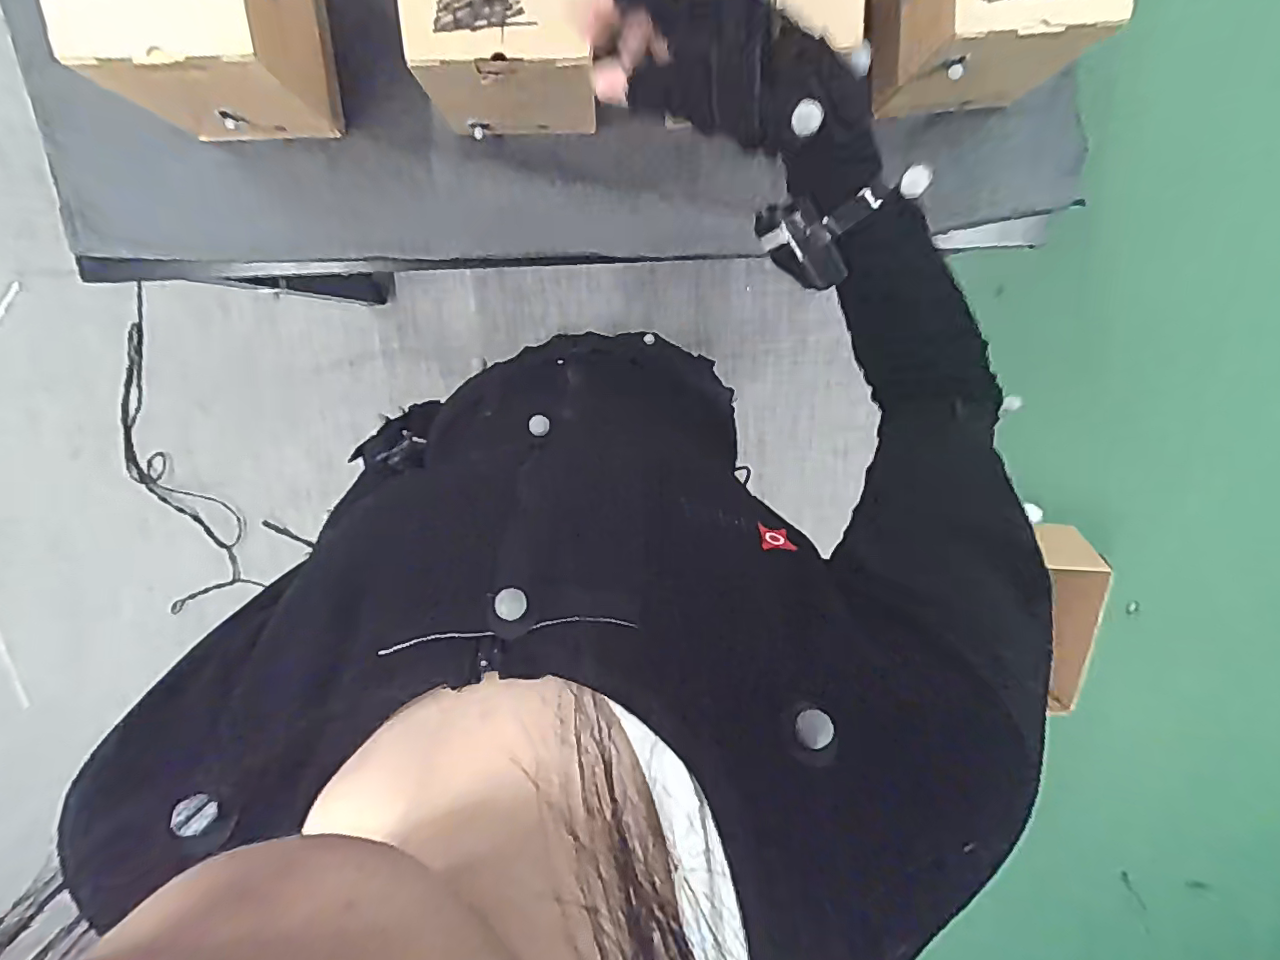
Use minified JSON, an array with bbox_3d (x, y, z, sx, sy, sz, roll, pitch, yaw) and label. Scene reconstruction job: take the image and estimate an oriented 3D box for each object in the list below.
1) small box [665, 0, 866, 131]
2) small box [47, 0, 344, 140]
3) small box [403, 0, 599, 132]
[{"bbox_3d":[0.114,-0.485,0.547,0.168,0.176,0.179,-4,104,-1],"label":"small box"},{"bbox_3d":[-0.415,-0.458,0.522,0.168,0.176,0.179,-4,103,-3],"label":"small box"},{"bbox_3d":[-0.127,-0.469,0.537,0.168,0.176,0.179,-2,103,-3],"label":"small box"}]
